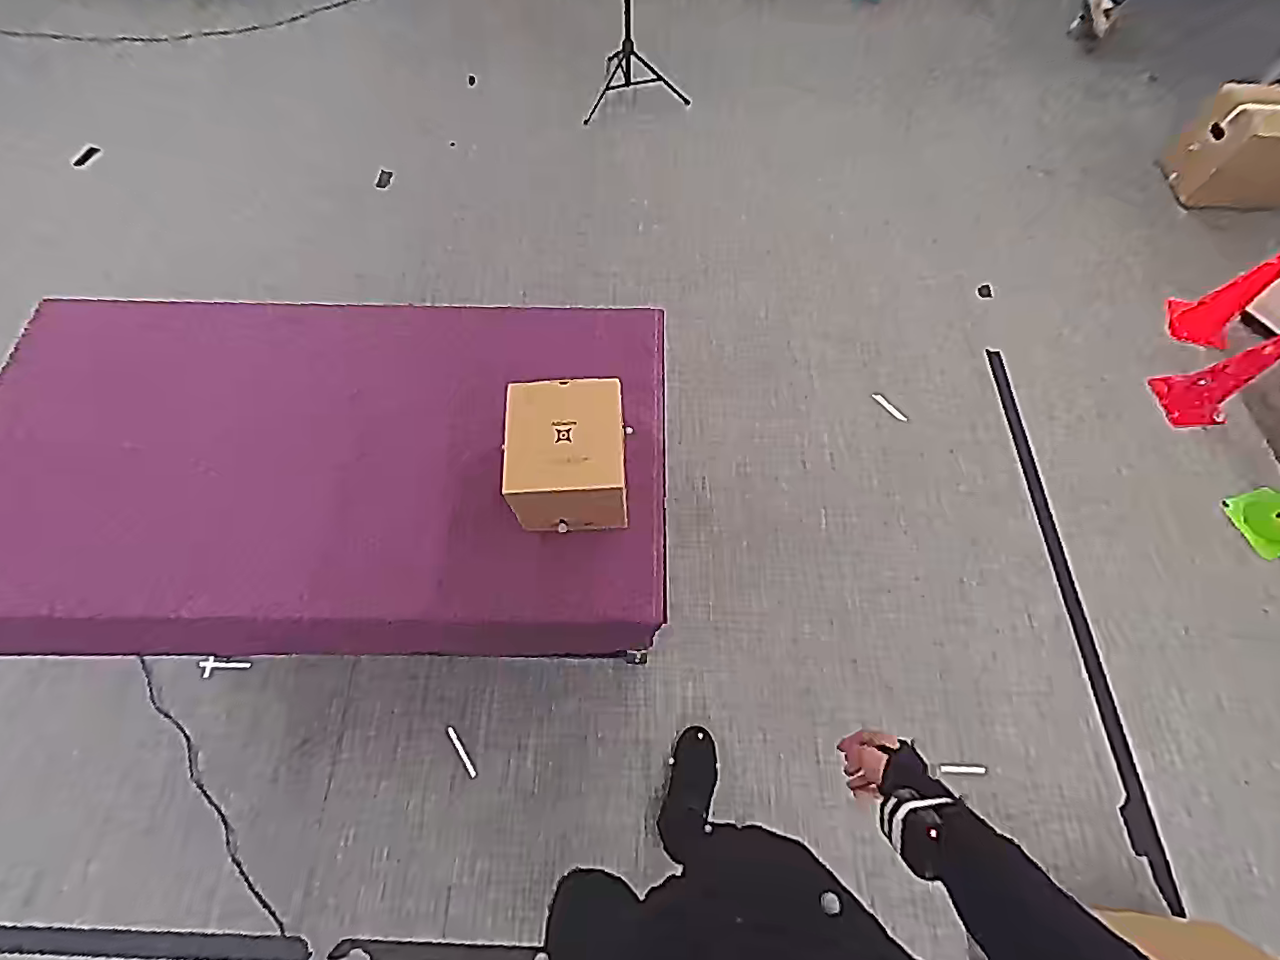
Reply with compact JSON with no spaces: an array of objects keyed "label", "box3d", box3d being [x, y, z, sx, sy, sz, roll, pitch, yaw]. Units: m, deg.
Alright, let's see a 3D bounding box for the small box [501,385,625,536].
[{"label":"small box","box3d":[-0.109,-0.025,0.834,0.168,0.176,0.179,-3,65,-1]}]
